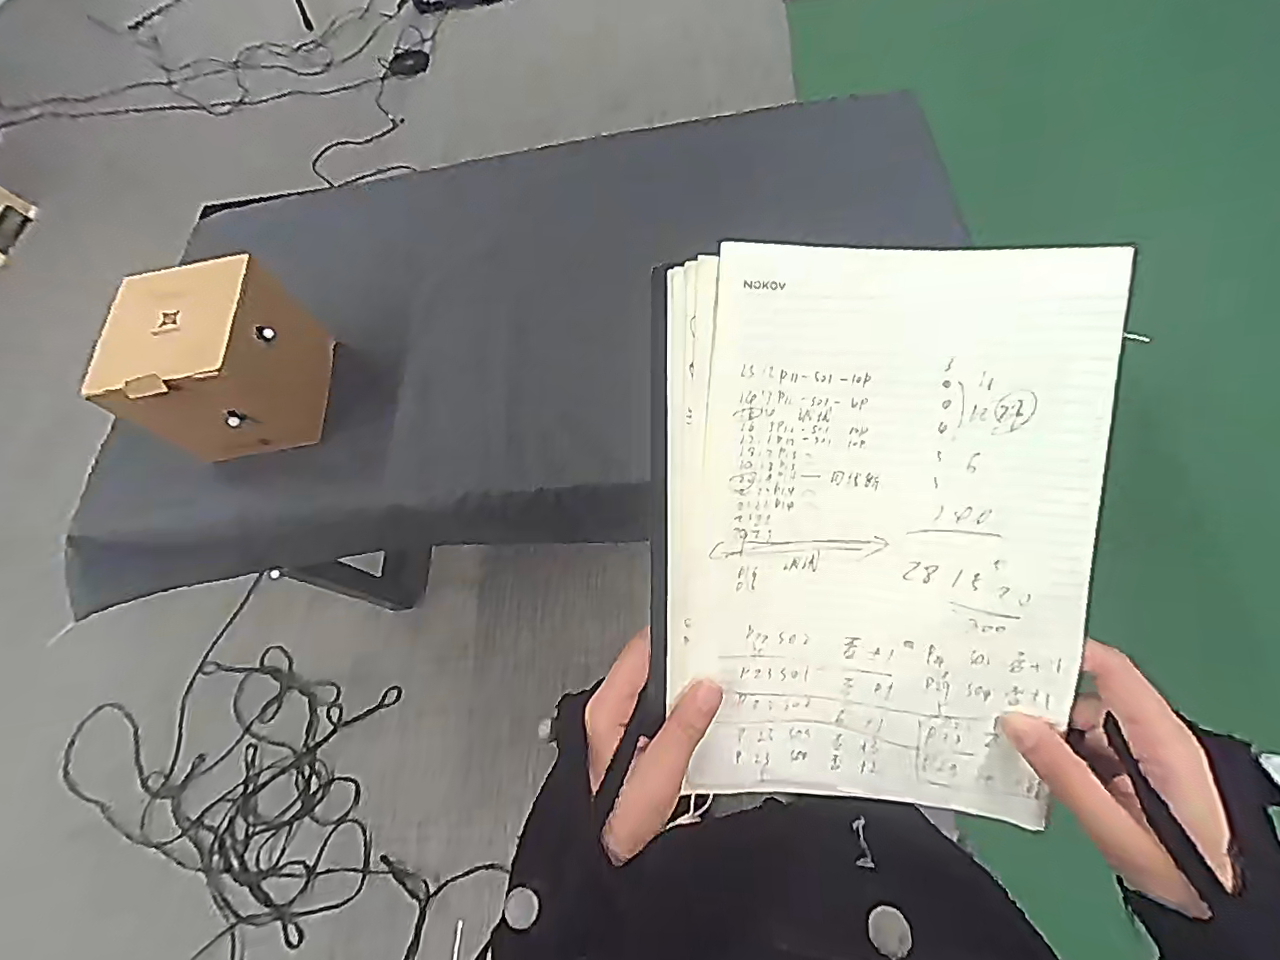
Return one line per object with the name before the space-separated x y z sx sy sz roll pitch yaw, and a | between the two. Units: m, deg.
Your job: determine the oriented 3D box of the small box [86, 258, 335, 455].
small box | -0.523 -0.145 0.690 0.168 0.176 0.179 -9 64 4
